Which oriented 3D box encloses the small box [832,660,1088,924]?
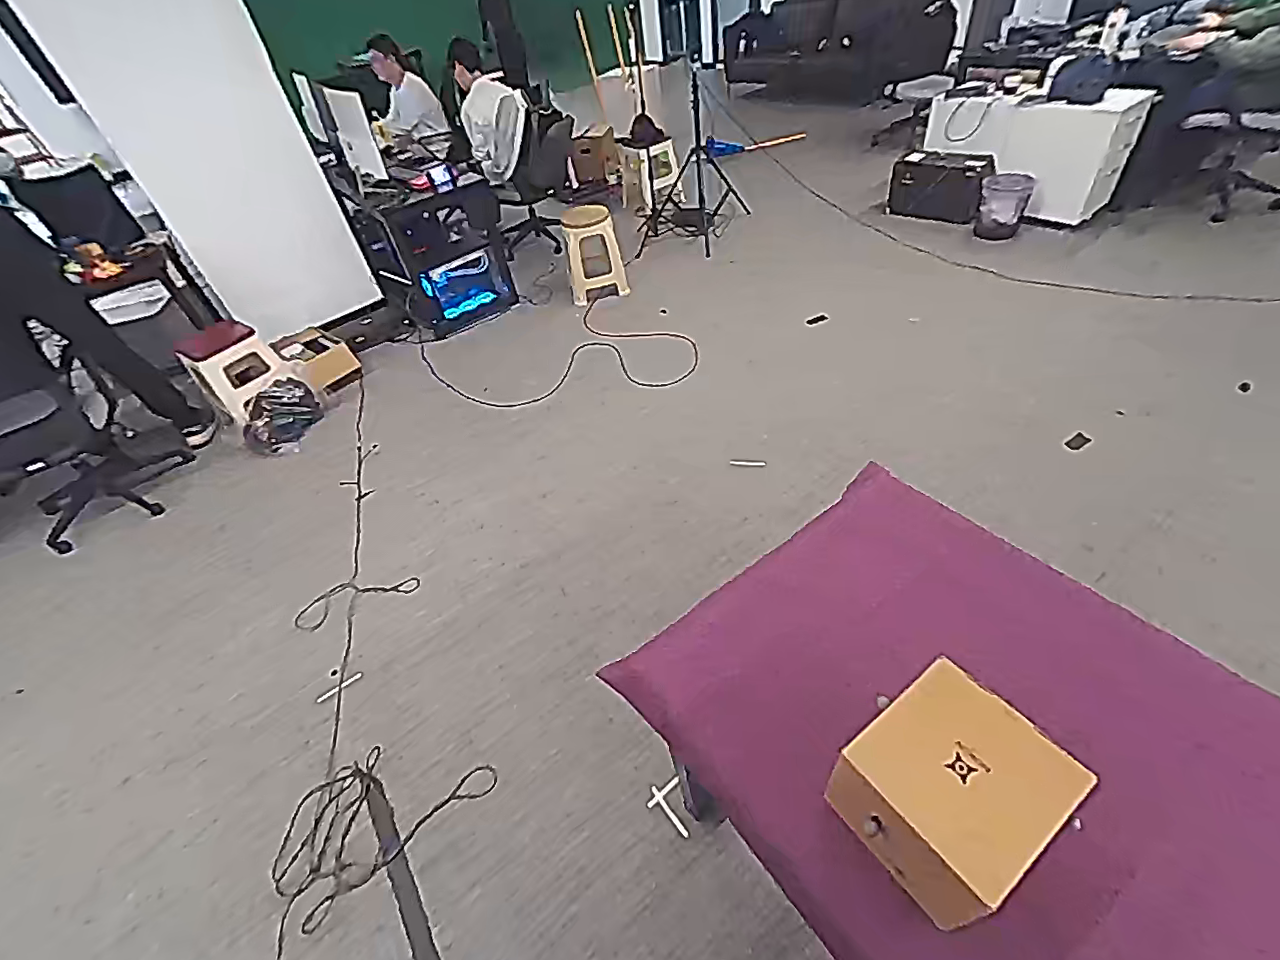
[{"bbox_3d":[0.336,0.348,0.606,0.179,0.176,0.168,-30,48,-21],"label":"small box"}]
